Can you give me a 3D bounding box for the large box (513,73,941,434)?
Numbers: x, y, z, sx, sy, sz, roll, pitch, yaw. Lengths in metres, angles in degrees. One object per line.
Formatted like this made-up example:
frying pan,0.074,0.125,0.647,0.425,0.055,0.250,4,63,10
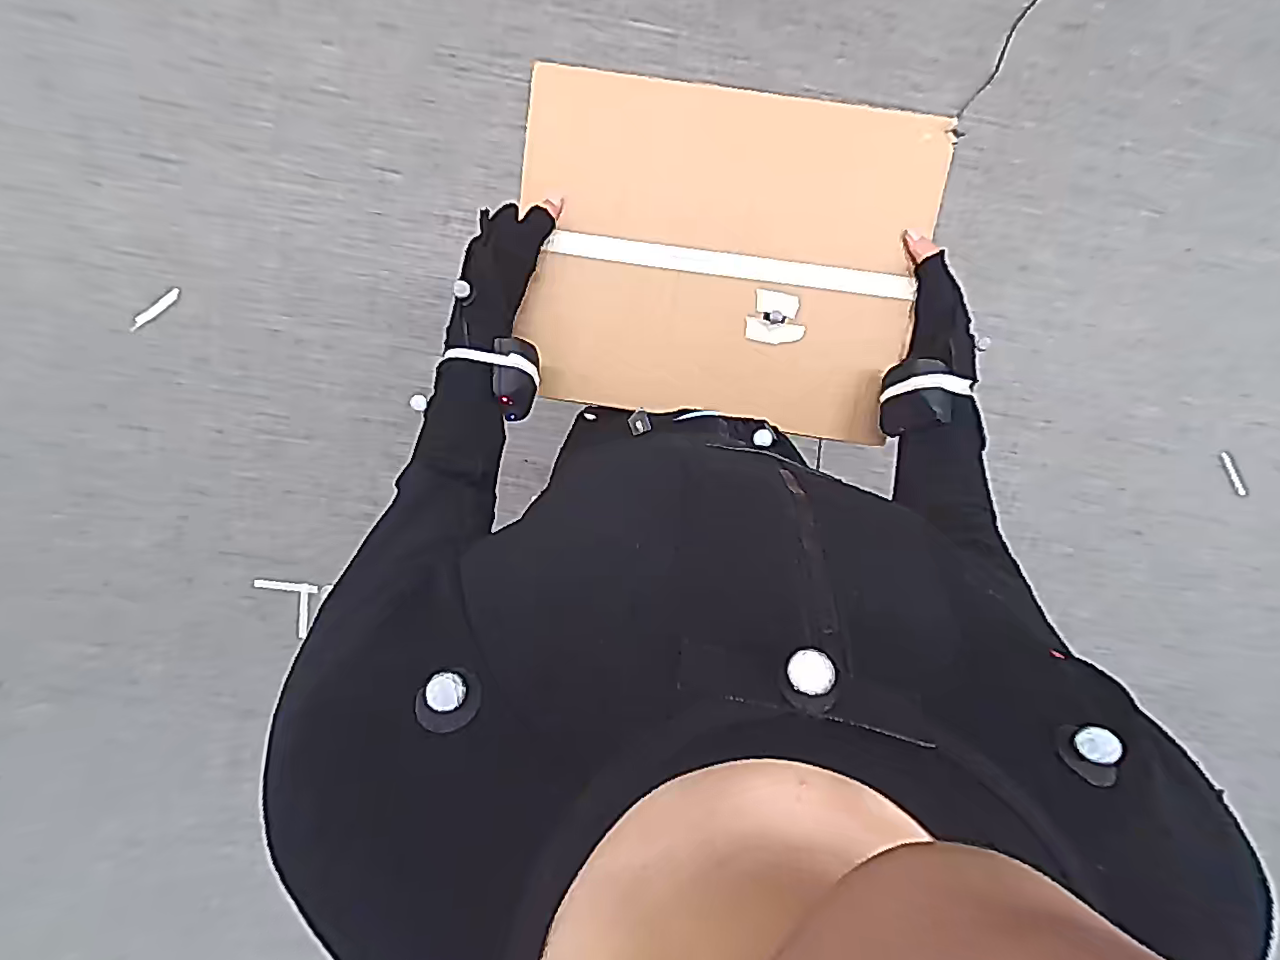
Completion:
large box,0.079,-0.251,0.698,0.408,0.320,0.320,8,103,0
